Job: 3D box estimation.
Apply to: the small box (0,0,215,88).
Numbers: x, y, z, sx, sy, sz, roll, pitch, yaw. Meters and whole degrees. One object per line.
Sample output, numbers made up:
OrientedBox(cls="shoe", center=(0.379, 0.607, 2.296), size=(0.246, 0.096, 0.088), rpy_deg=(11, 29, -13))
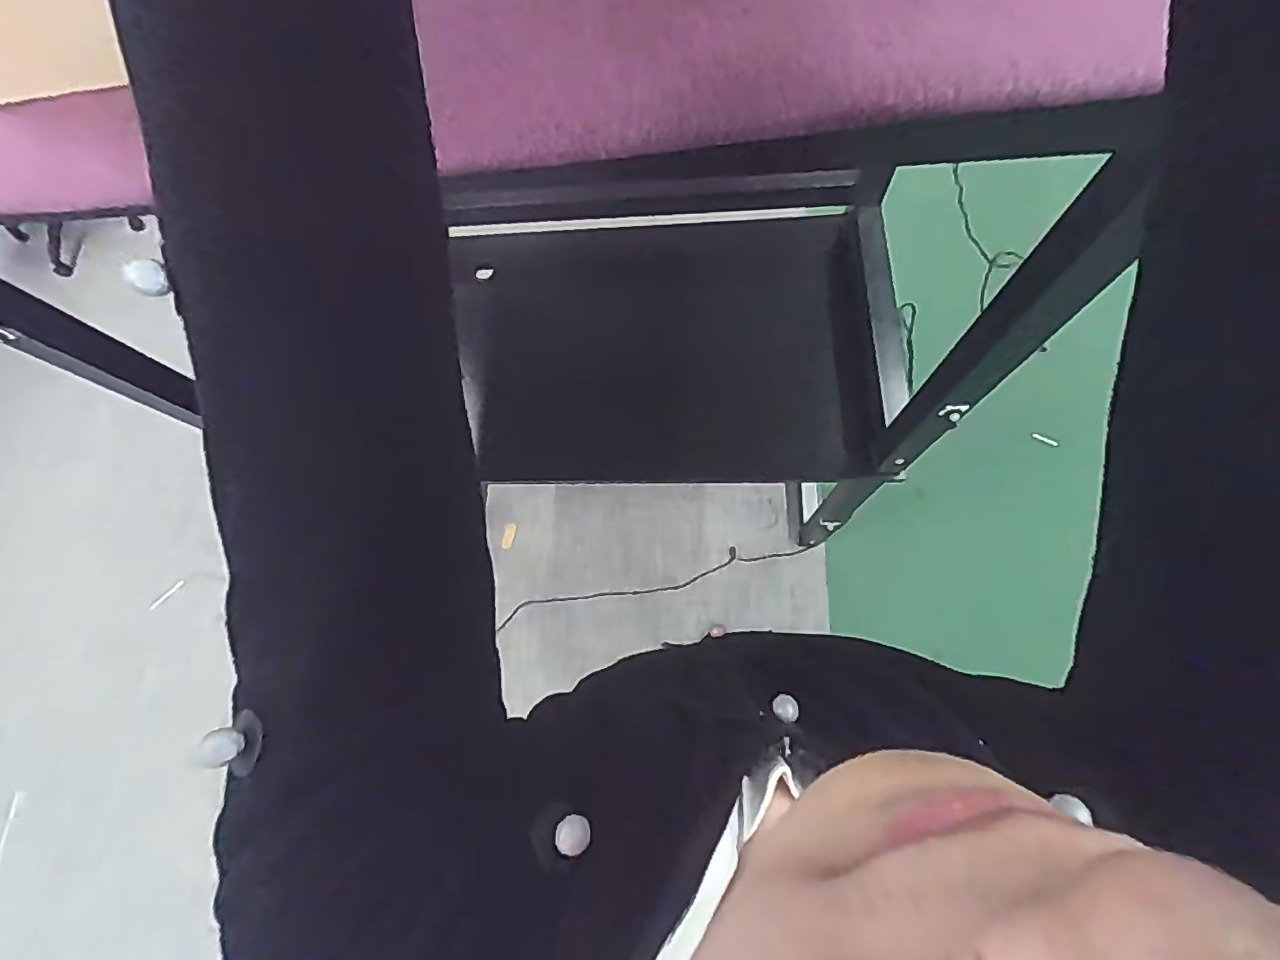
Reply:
OrientedBox(cls="small box", center=(-0.403, -0.378, 0.329), size=(0.179, 0.176, 0.168), rpy_deg=(-4, 72, 5))
